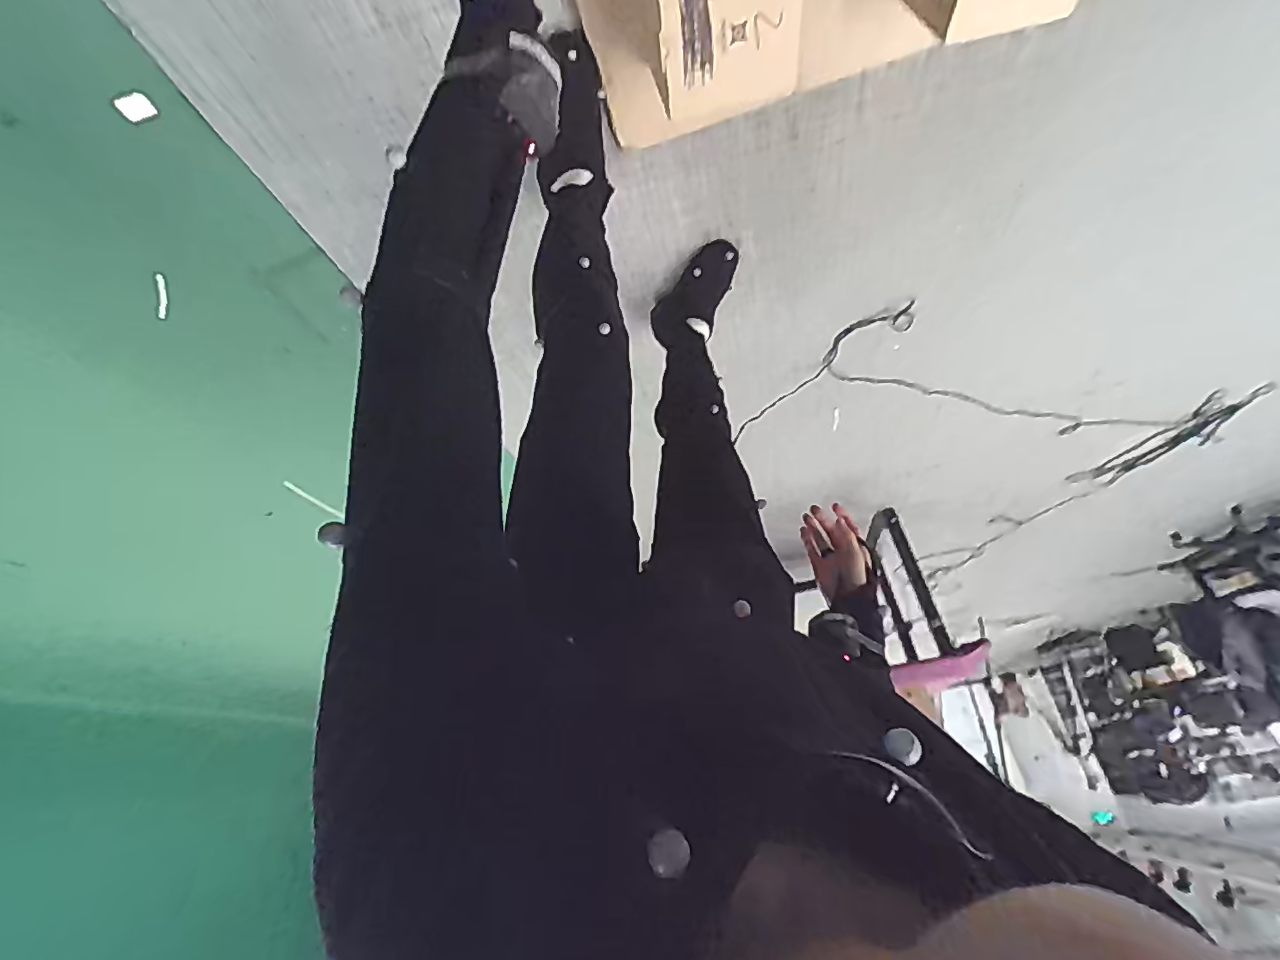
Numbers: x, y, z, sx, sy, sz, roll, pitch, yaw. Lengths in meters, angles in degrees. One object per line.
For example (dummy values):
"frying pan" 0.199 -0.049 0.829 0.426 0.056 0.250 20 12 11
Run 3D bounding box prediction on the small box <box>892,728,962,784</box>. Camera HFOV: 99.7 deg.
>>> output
"small box" 1.074 1.037 2.039 0.168 0.176 0.179 -14 149 8

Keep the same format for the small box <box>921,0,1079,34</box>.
"small box" 0.446 -0.689 0.648 0.168 0.176 0.179 -12 150 2

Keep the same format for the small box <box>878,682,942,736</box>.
"small box" 1.054 0.902 2.130 0.168 0.176 0.179 -15 149 9
